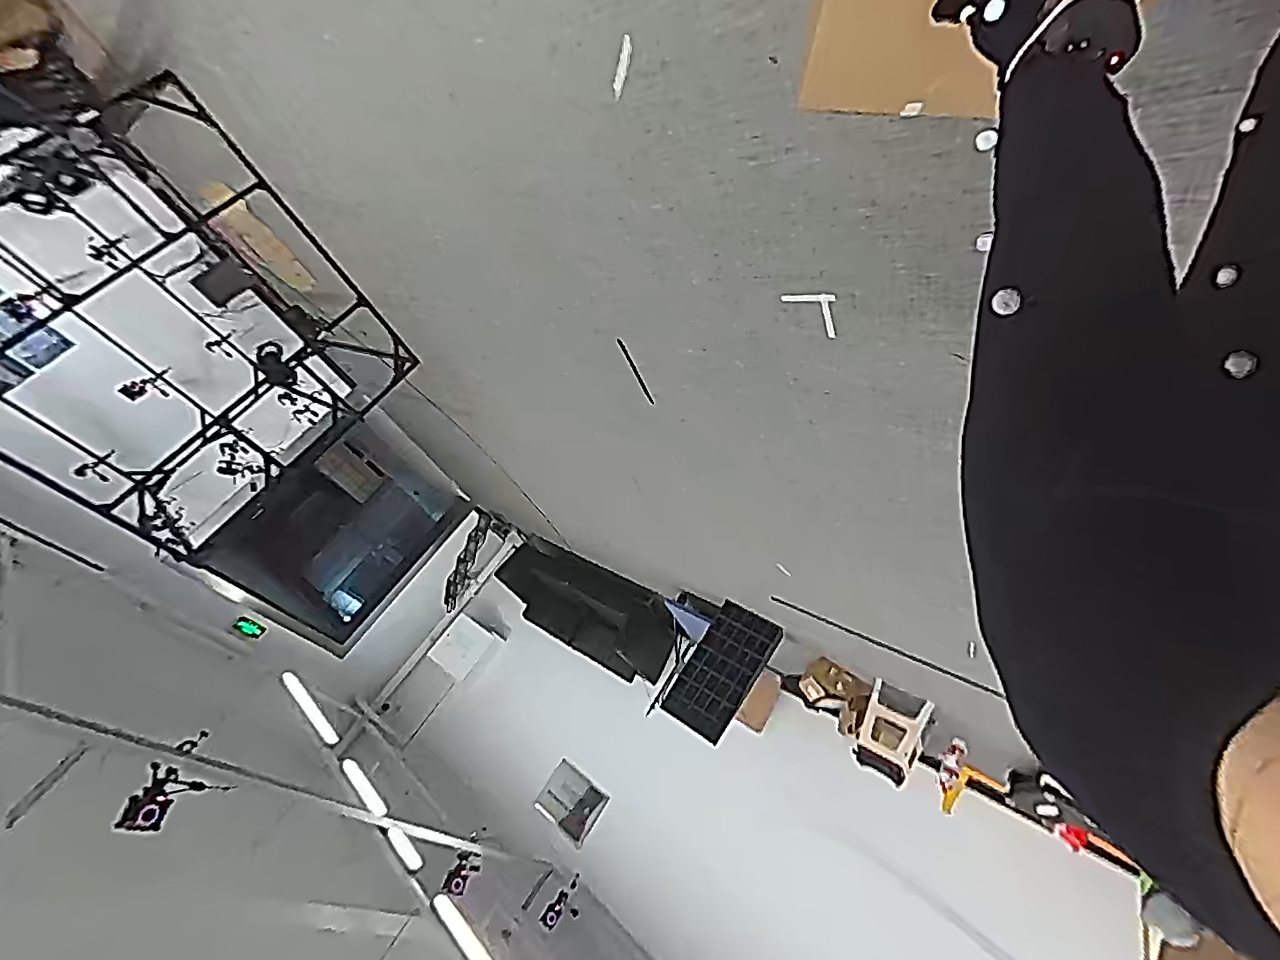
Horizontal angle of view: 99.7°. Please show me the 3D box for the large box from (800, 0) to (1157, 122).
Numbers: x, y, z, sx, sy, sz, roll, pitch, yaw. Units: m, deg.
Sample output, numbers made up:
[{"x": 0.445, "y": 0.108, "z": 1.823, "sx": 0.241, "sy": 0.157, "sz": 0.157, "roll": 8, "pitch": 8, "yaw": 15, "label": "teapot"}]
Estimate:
[{"x": 0.381, "y": -0.691, "z": 0.599, "sx": 0.320, "sy": 0.408, "sz": 0.320, "roll": 8, "pitch": -168, "yaw": 8, "label": "large box"}]
